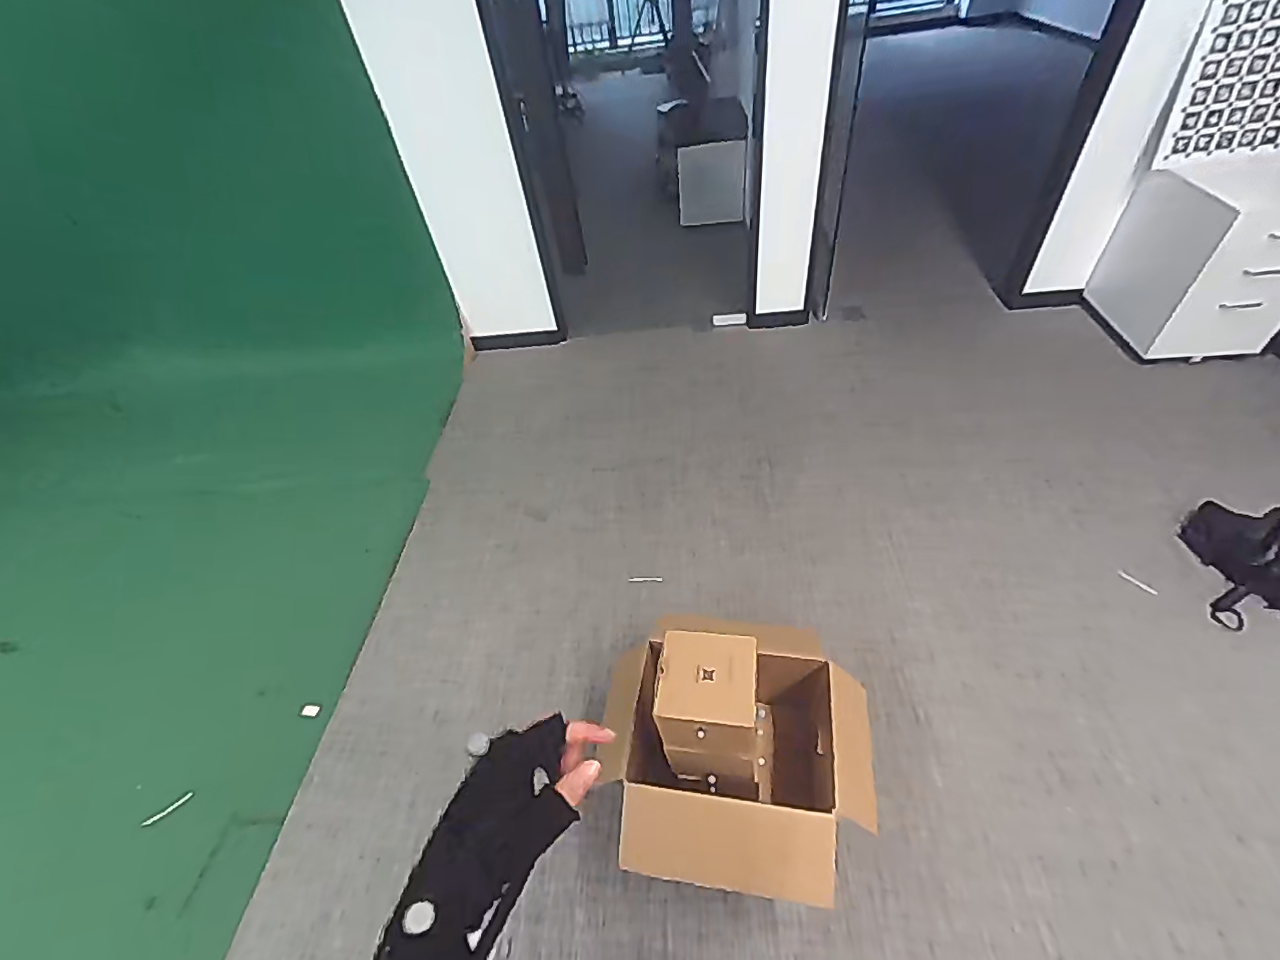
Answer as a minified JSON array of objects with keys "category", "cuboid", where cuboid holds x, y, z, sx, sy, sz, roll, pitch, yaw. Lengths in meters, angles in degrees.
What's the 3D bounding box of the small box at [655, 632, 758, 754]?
[{"category":"small box","cuboid":[0.135,0.410,1.041,0.179,0.176,0.168,1,48,12]}]
